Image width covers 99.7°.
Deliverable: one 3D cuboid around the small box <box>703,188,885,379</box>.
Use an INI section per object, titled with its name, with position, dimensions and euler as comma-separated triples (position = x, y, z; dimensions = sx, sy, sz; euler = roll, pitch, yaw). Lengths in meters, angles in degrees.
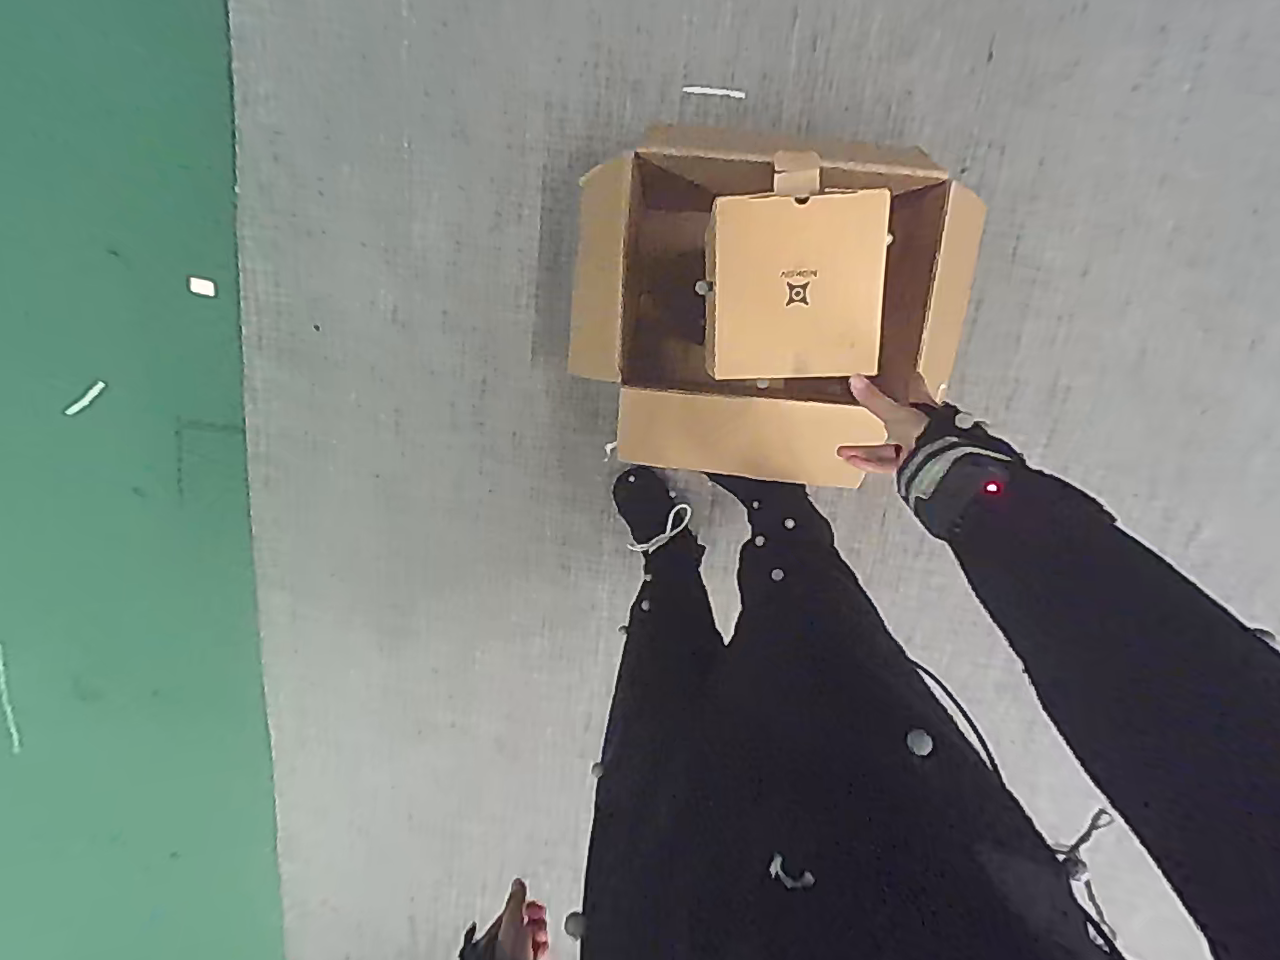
[small box]
position = 0.158, -0.208, 0.610
dimensions = 0.168, 0.176, 0.179
euler = -1, 102, 5
